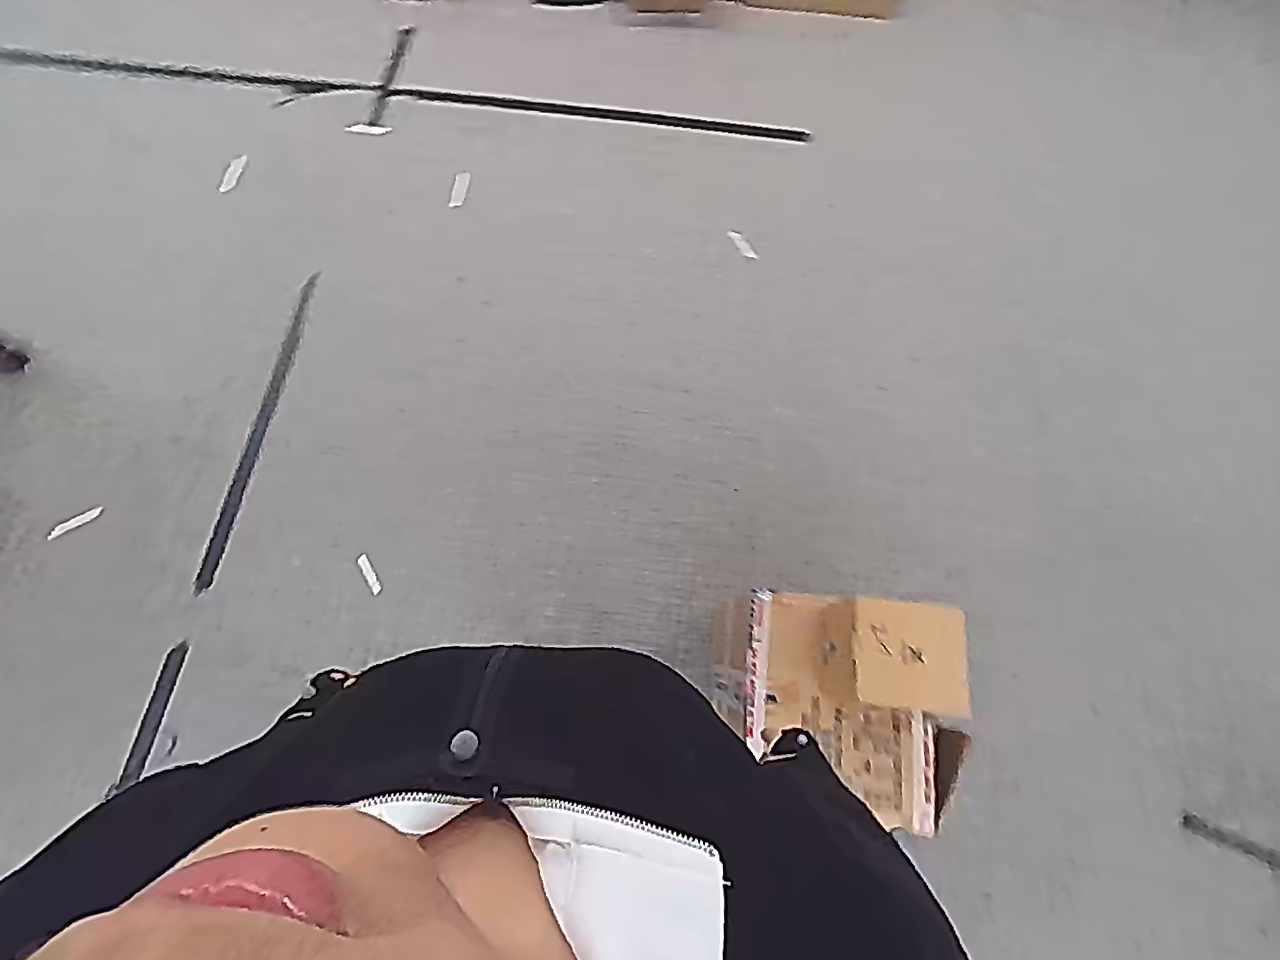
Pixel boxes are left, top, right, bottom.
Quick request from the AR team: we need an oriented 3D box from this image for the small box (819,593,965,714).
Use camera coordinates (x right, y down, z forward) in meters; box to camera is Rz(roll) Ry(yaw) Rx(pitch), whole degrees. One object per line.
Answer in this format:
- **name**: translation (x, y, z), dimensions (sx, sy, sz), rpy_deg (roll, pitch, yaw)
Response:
- **small box**: translation (0.426, 0.298, 0.934), dimensions (0.179, 0.176, 0.168), rpy_deg (7, 71, 3)
